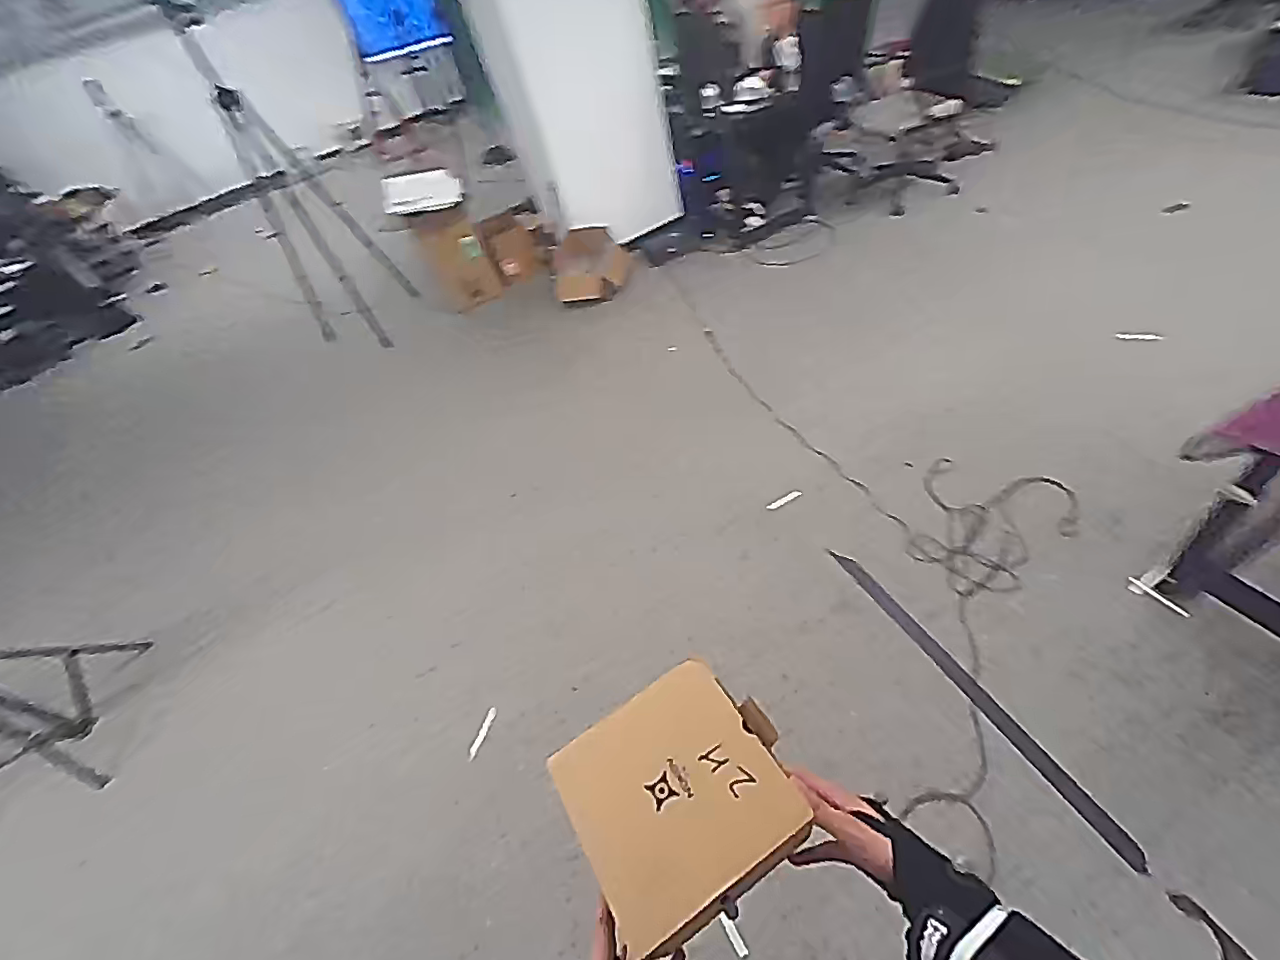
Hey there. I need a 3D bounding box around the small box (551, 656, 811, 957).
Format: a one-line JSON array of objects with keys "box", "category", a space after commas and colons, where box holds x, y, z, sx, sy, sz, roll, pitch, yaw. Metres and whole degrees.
[{"box": [0.045, 0.314, 0.525, 0.179, 0.176, 0.168, -32, 51, -12], "category": "small box"}]
